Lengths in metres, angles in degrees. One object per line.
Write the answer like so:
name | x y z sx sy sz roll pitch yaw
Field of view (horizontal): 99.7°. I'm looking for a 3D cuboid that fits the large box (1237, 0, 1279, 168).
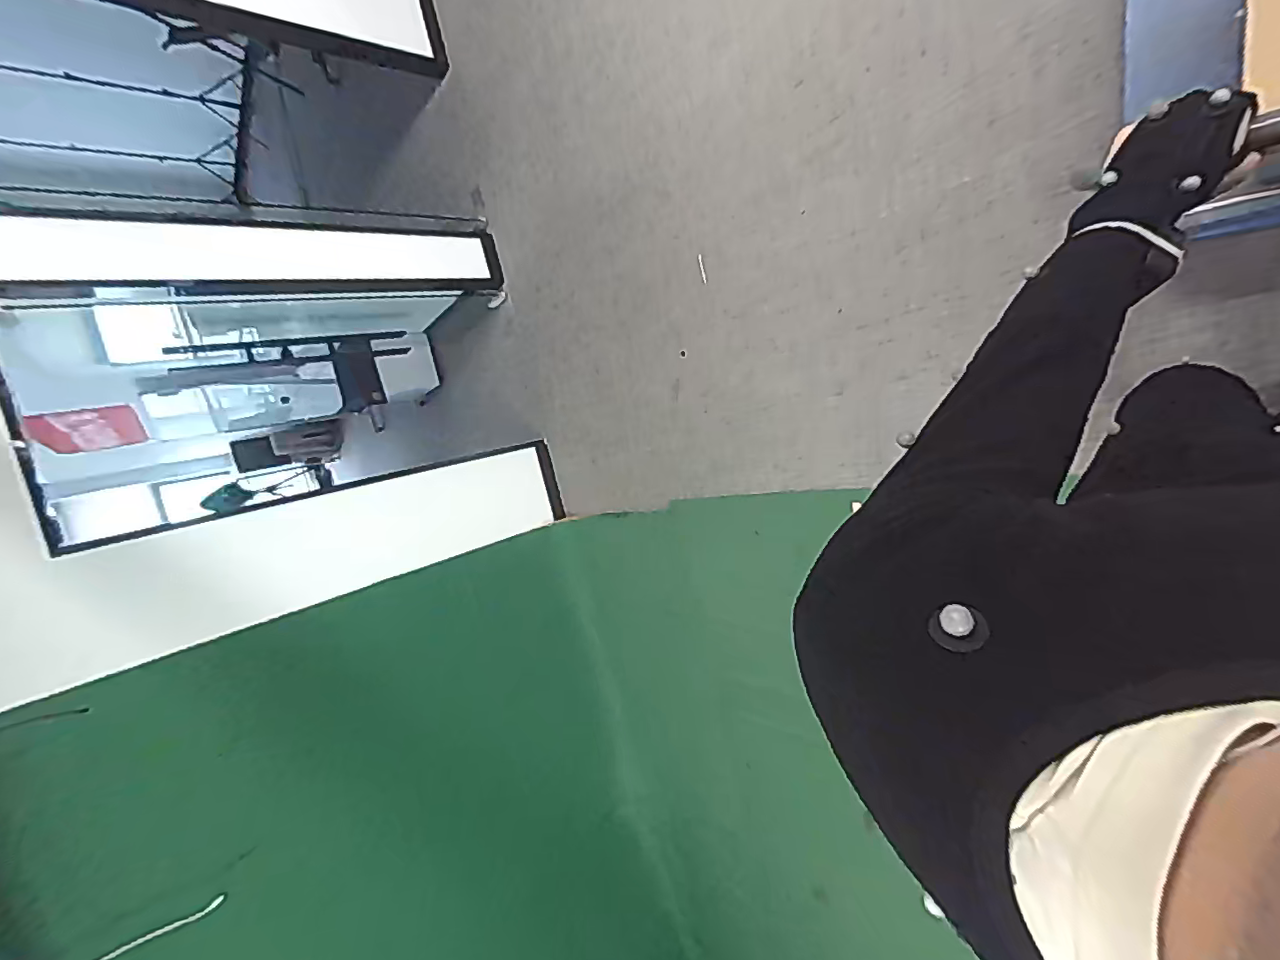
large box | 0.983 -0.680 0.670 0.320 0.320 0.408 2 103 48
